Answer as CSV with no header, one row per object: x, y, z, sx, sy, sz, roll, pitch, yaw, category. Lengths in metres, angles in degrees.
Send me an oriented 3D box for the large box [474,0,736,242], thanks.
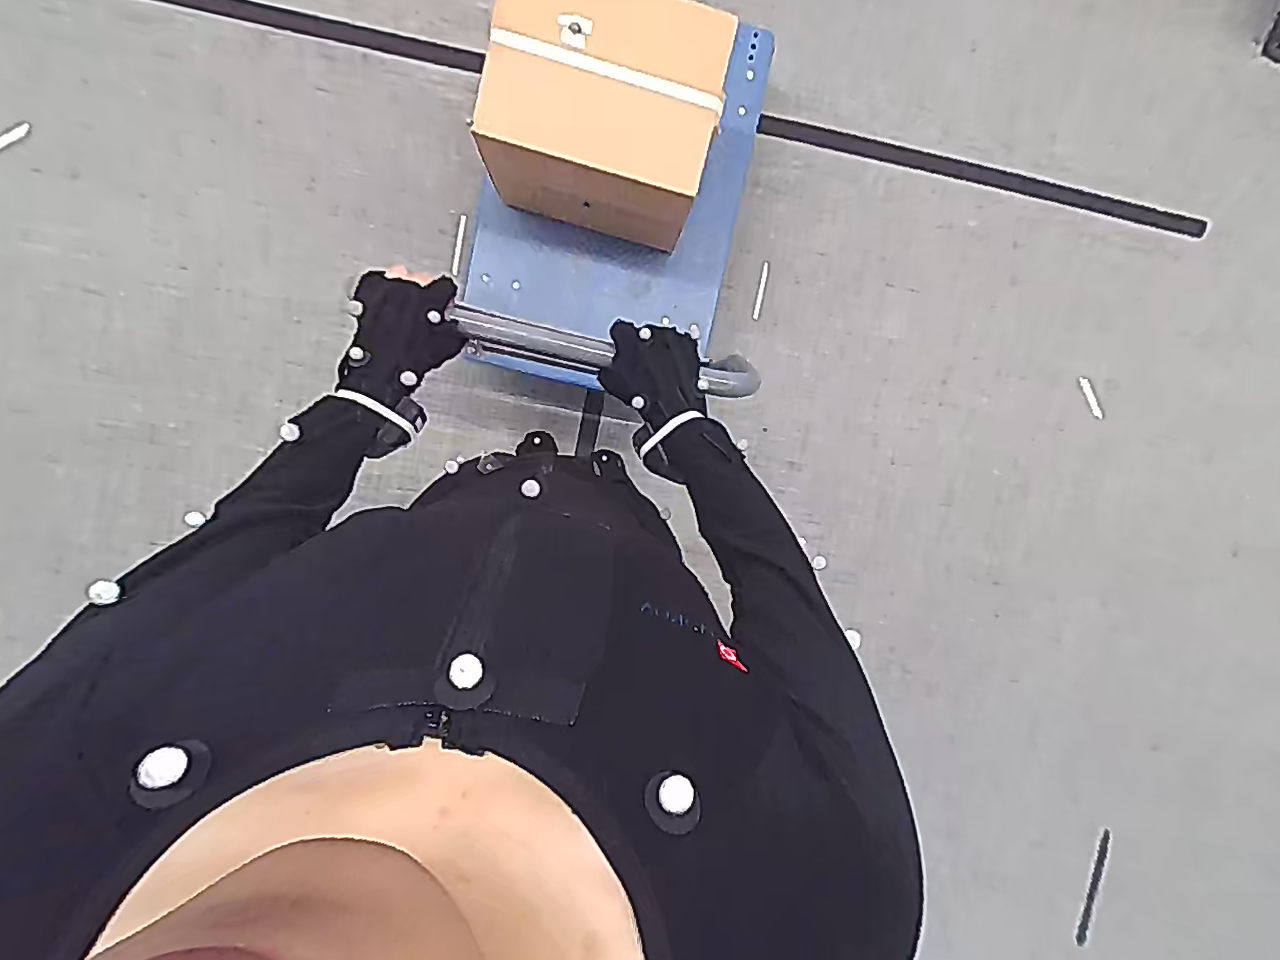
-0.066,-0.717,1.075,0.408,0.320,0.320,14,95,-5,large box
